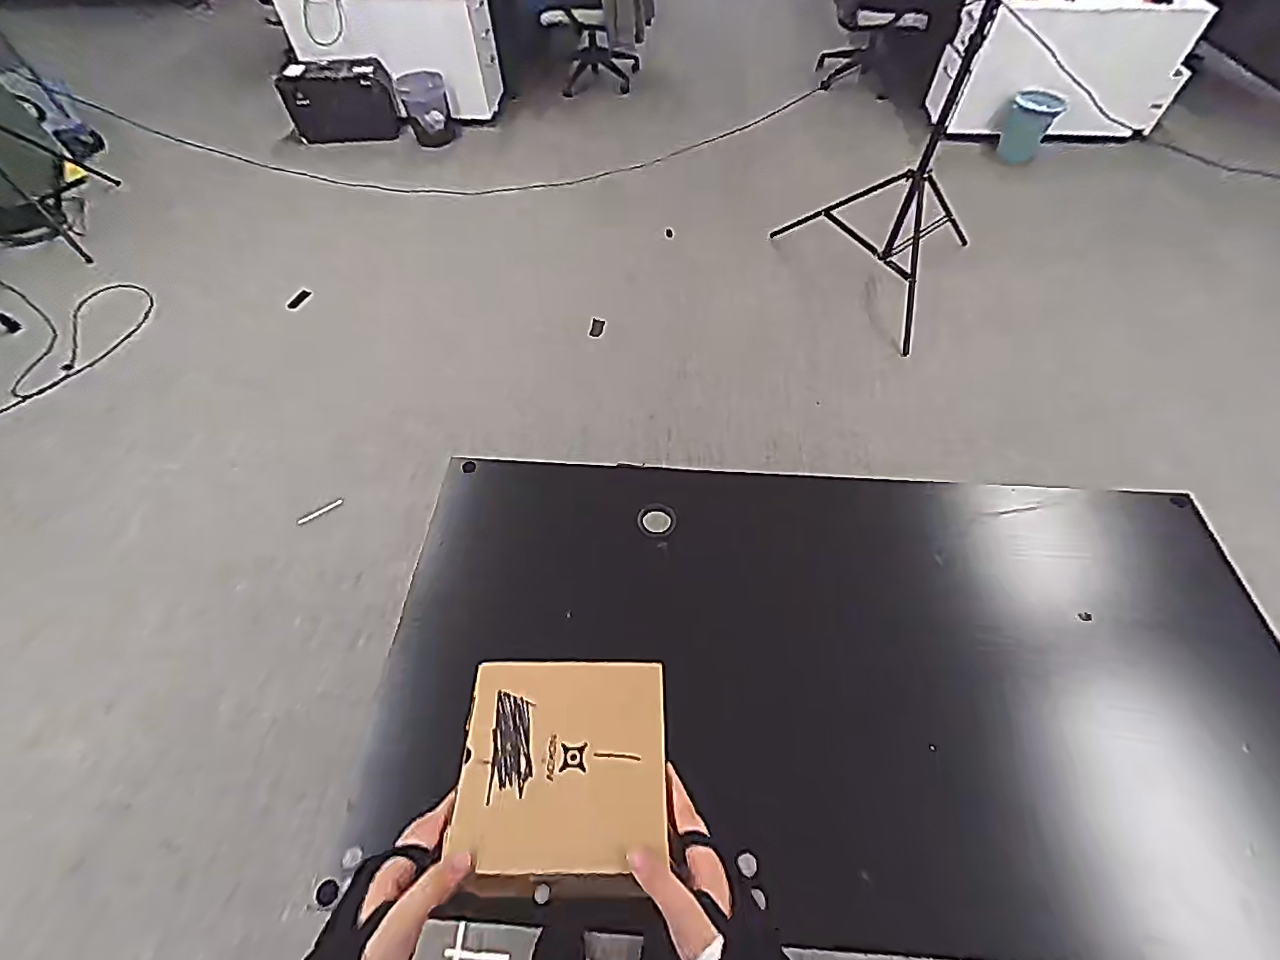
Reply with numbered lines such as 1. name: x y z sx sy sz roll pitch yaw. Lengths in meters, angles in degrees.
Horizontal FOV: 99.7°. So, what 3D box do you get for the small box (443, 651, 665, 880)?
1. small box: -0.067 0.281 0.527 0.179 0.176 0.168 1 49 -1
